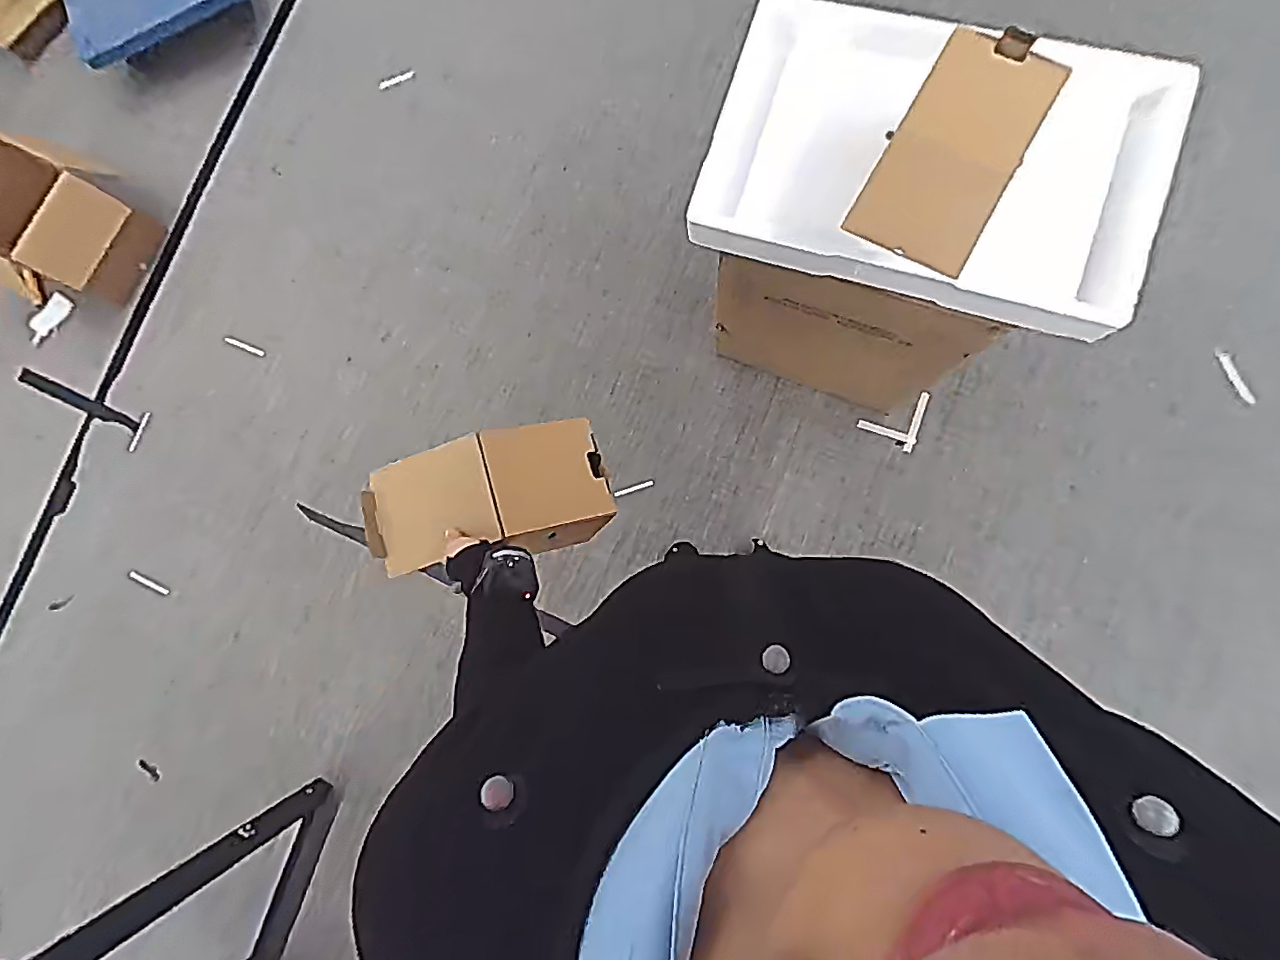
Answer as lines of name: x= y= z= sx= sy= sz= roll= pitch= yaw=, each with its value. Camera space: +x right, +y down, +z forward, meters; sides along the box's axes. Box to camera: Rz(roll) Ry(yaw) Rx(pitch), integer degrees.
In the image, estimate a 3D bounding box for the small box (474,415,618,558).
small box: x=-0.159 y=0.015 z=0.854 sx=0.179 sy=0.176 sz=0.168 roll=-10 pitch=74 yaw=-25
